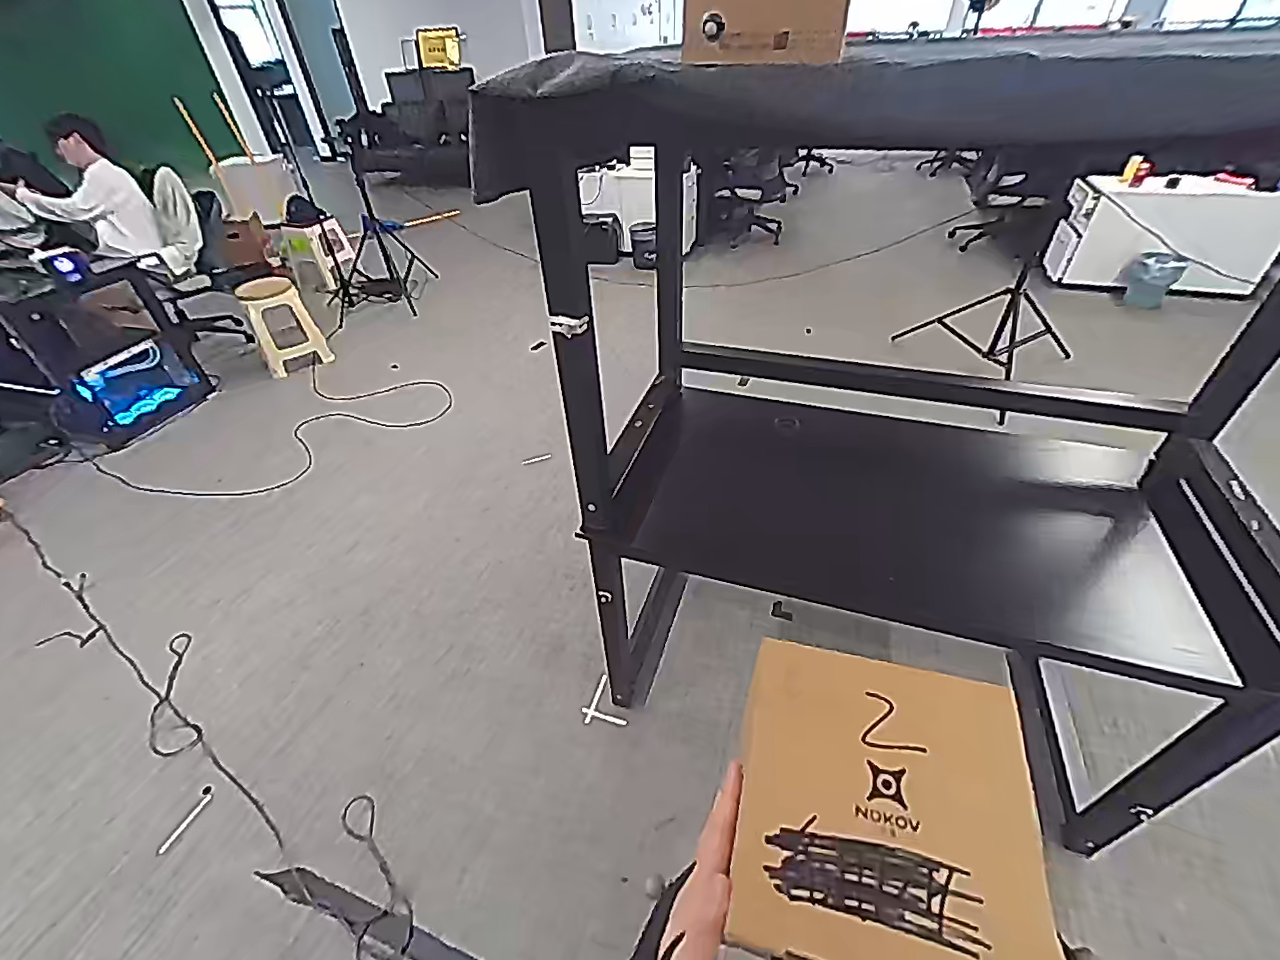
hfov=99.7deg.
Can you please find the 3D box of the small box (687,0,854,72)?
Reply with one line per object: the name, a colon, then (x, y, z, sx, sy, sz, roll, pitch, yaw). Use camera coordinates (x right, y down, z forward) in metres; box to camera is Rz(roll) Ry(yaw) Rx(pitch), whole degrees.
small box: (0.147, -0.543, 0.575, 0.168, 0.176, 0.179, 10, 40, 13)
